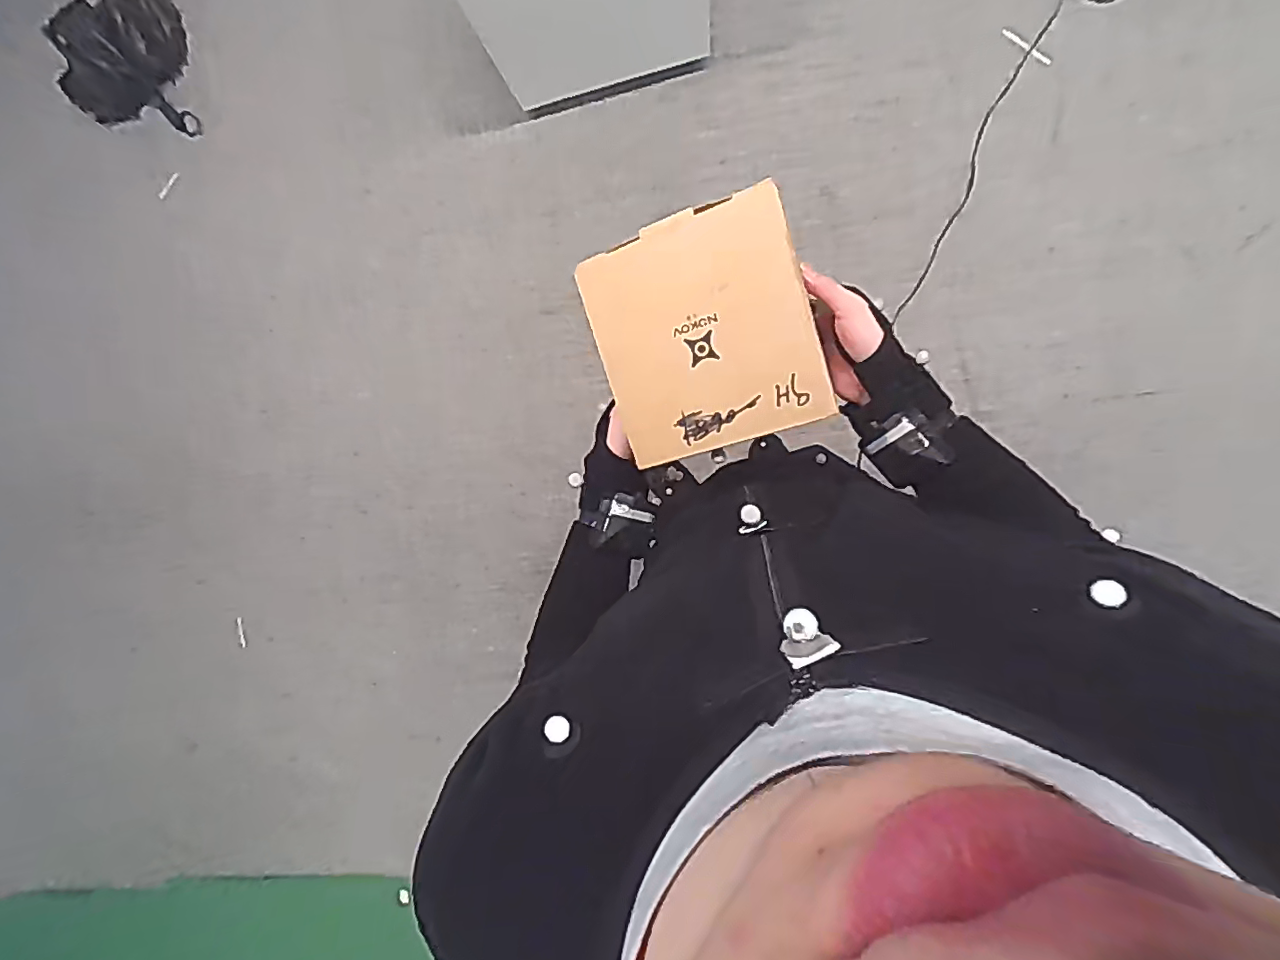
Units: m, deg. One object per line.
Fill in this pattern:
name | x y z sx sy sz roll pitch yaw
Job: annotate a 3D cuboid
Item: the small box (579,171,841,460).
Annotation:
small box | 0.072 -0.133 0.487 0.168 0.176 0.179 -15 98 21
